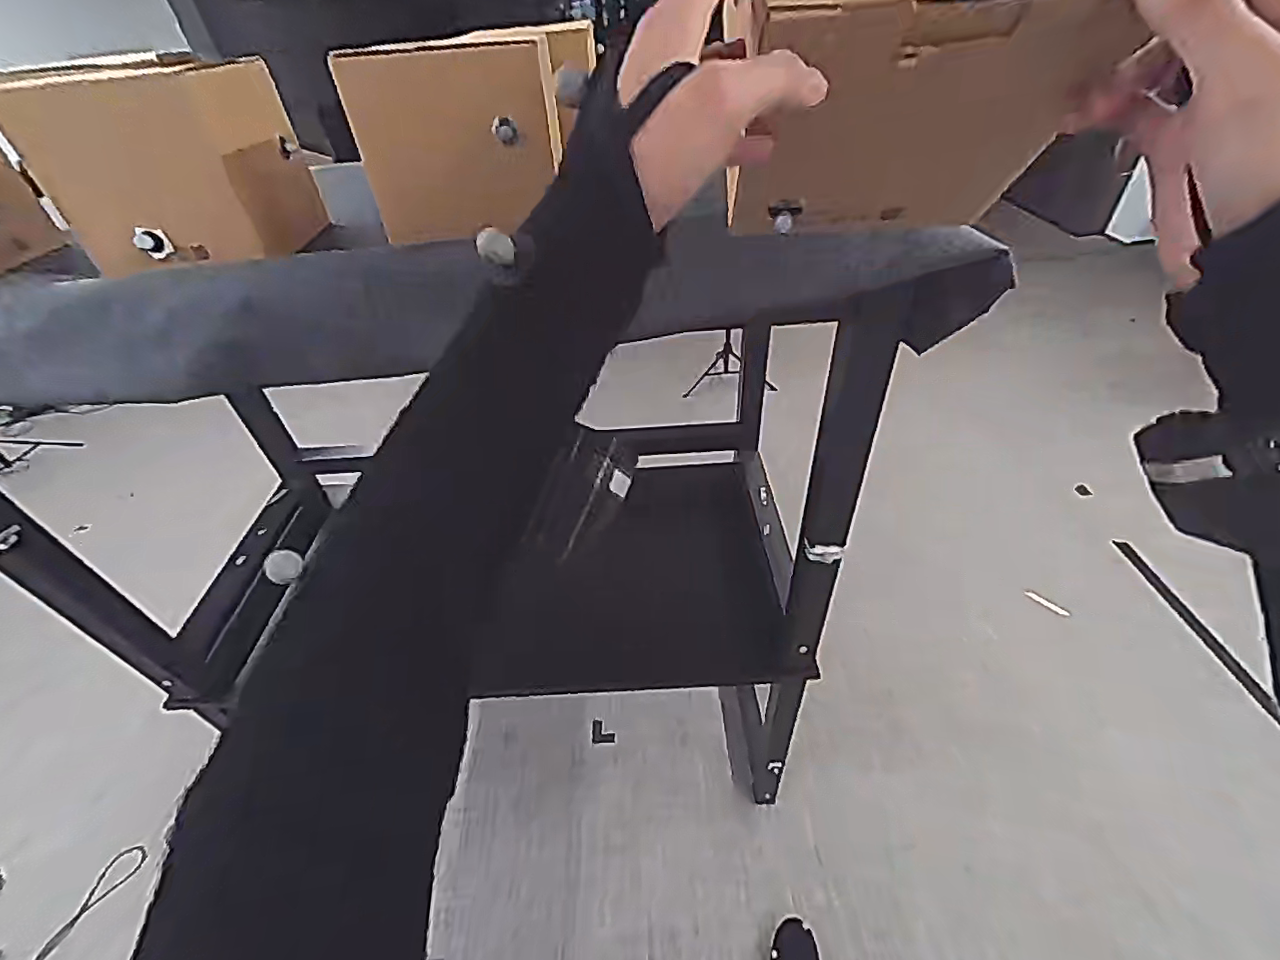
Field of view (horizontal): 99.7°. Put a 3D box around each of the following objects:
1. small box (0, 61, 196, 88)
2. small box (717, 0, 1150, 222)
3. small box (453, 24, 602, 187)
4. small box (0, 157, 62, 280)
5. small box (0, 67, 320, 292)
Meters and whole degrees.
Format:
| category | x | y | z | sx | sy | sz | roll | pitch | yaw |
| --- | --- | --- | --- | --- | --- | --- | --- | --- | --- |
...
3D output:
| category | x | y | z | sx | sy | sz | roll | pitch | yaw |
| --- | --- | --- | --- | --- | --- | --- | --- | --- | --- |
| small box | -0.720 | -0.482 | 0.774 | 0.179 | 0.176 | 0.168 | -5 | 42 | -1 |
| small box | 0.133 | -0.265 | 0.300 | 0.168 | 0.176 | 0.179 | -1 | 83 | 4 |
| small box | -0.145 | -0.530 | 0.772 | 0.168 | 0.176 | 0.179 | -5 | 42 | 1 |
| small box | -0.796 | -0.287 | 0.559 | 0.179 | 0.176 | 0.168 | -6 | 41 | -2 |
| small box | -0.465 | -0.310 | 0.556 | 0.168 | 0.176 | 0.179 | -7 | 40 | -1 |
